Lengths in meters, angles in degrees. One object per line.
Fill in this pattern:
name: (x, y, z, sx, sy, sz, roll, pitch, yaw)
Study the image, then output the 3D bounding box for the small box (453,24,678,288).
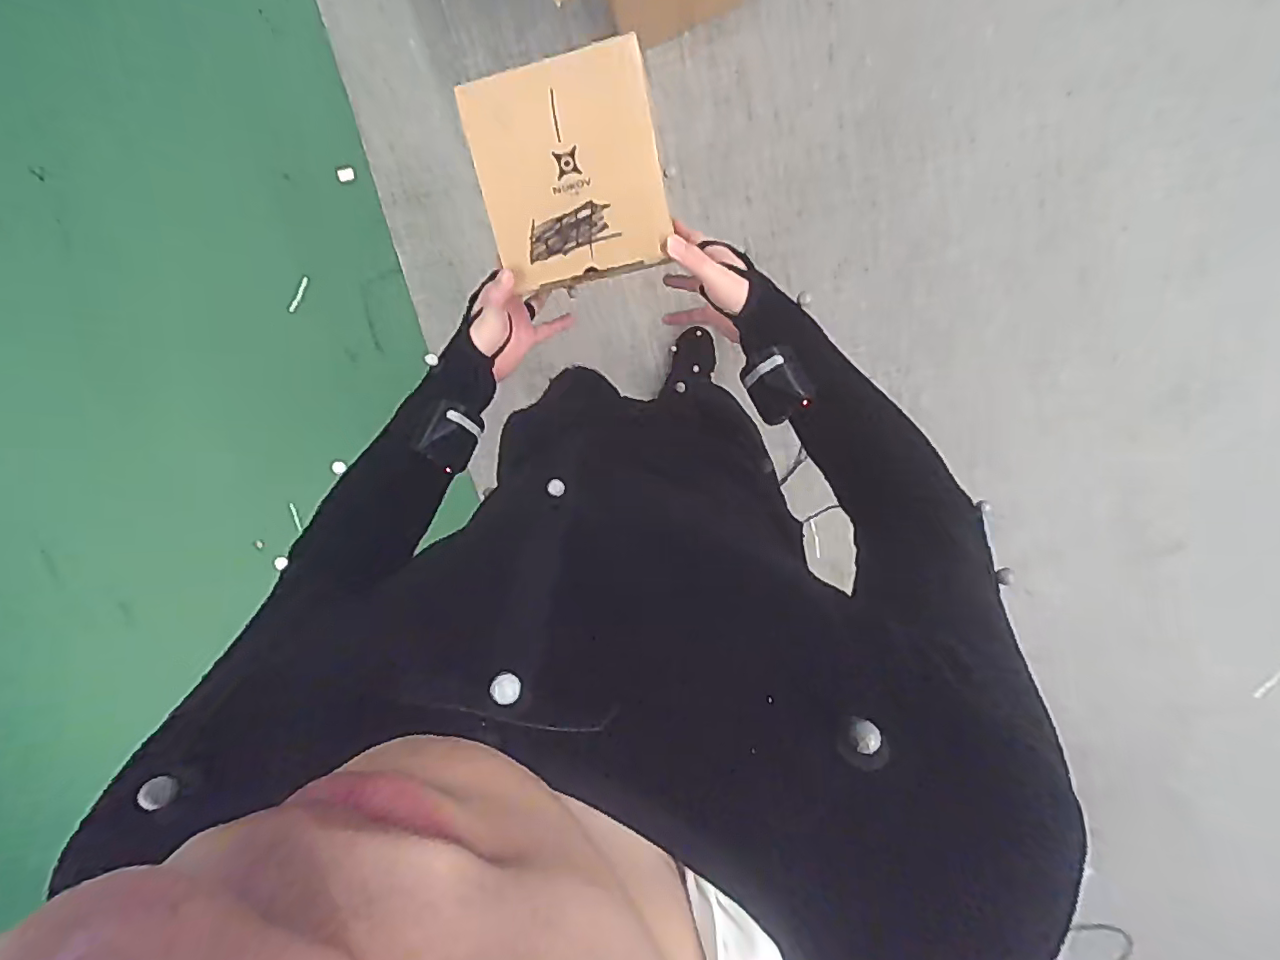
small box: (-0.056, -0.301, 0.545, 0.168, 0.176, 0.179, -10, 109, 8)
